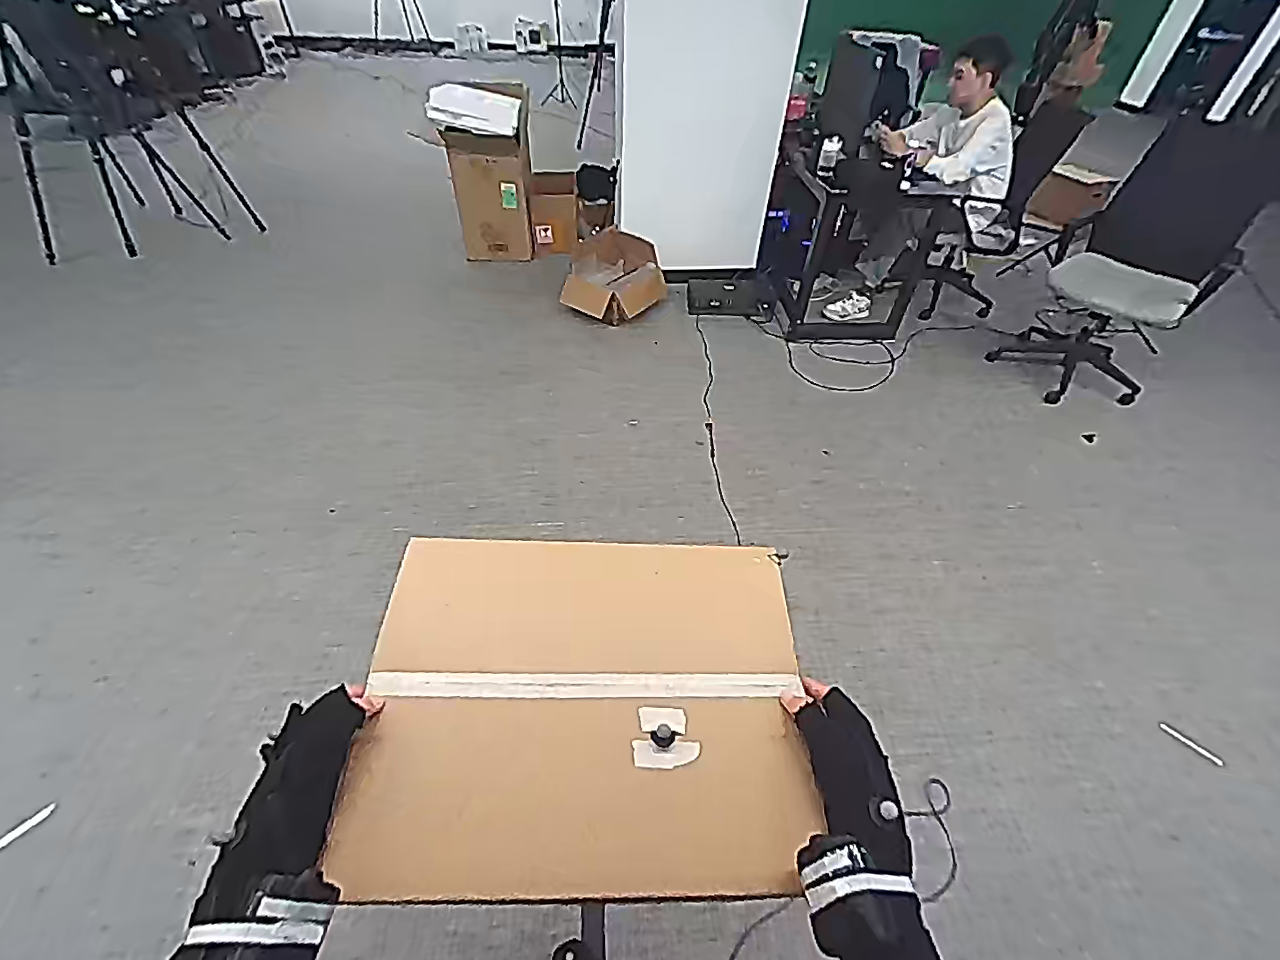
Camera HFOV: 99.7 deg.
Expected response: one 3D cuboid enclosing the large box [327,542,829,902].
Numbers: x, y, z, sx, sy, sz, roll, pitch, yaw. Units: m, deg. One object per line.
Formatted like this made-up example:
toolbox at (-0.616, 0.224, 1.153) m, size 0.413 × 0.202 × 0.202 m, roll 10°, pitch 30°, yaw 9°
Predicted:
large box at (-0.058, 0.288, 0.630) m, size 0.408 × 0.320 × 0.320 m, roll 3°, pitch 52°, yaw -4°
